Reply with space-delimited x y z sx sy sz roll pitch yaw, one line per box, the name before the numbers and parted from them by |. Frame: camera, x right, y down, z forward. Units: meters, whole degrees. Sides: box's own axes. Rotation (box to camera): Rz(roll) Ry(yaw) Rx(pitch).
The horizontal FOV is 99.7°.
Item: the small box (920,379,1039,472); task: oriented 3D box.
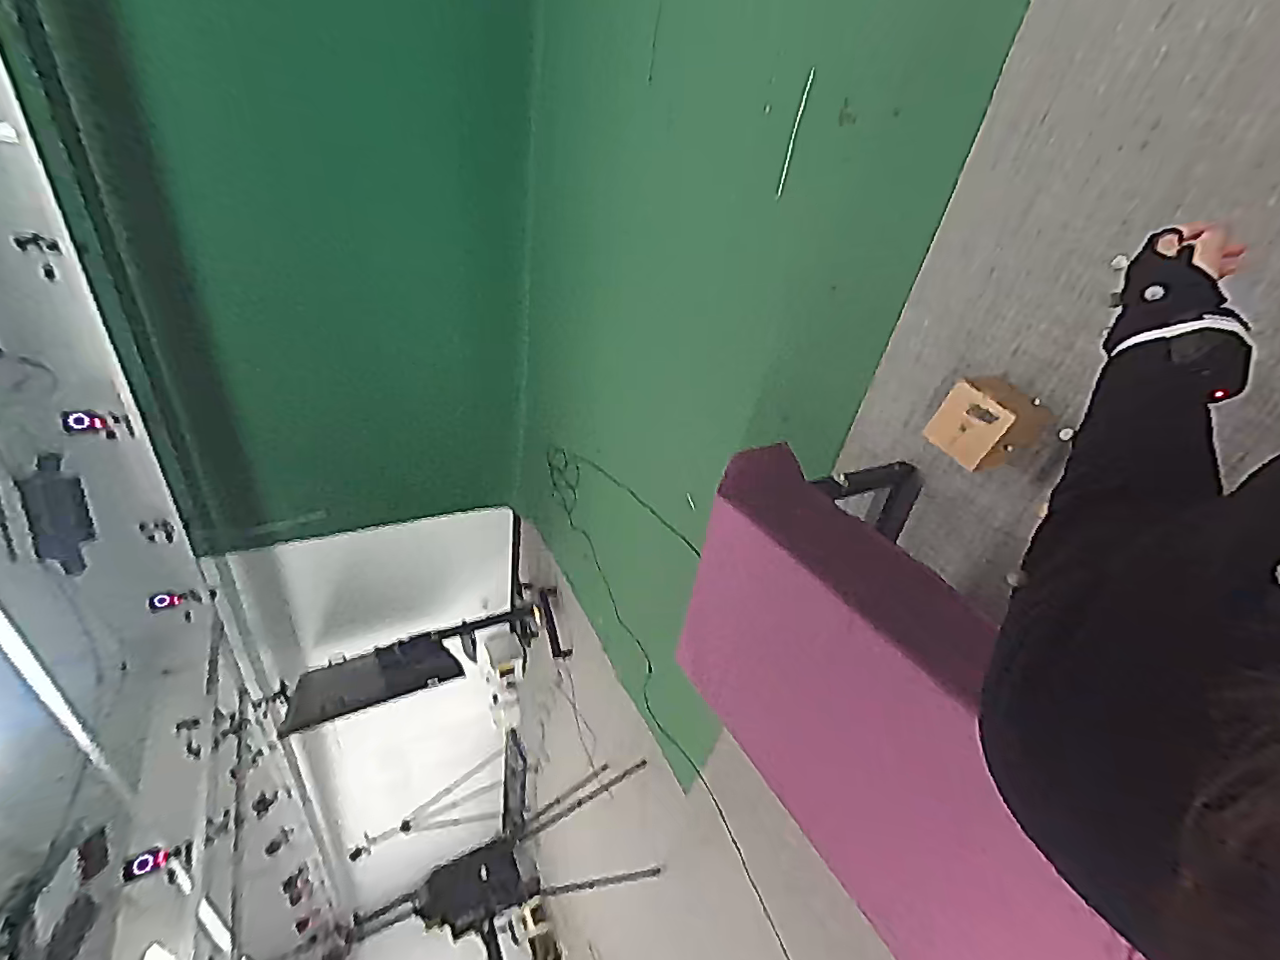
small box | 0.878 -0.147 1.394 0.168 0.176 0.179 56 143 37
